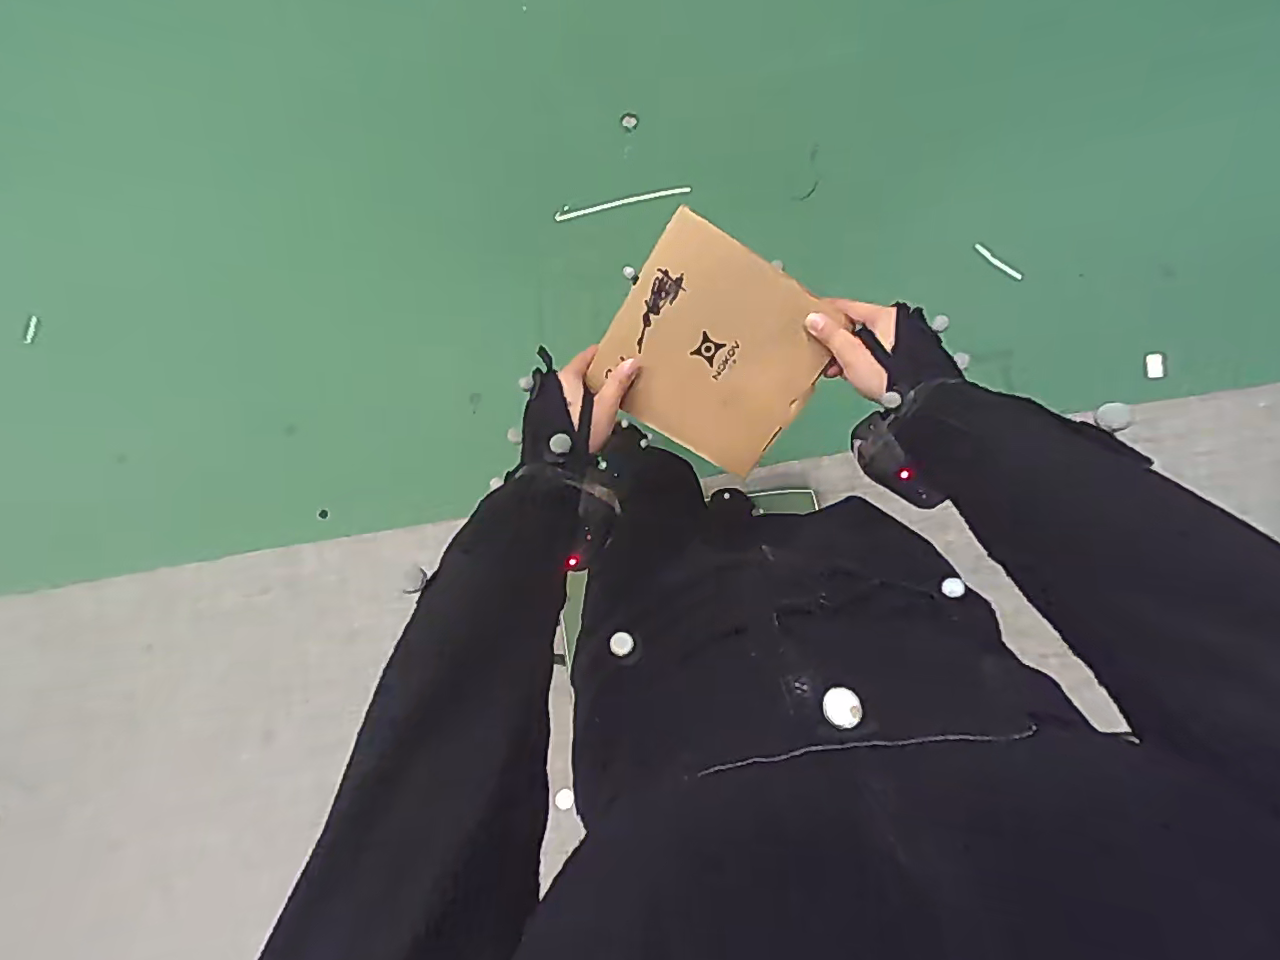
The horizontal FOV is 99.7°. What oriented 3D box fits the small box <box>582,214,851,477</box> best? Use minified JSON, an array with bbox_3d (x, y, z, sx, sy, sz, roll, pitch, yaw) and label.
[{"bbox_3d":[0.064,-0.136,0.536,0.179,0.176,0.168,30,109,-11],"label":"small box"}]
